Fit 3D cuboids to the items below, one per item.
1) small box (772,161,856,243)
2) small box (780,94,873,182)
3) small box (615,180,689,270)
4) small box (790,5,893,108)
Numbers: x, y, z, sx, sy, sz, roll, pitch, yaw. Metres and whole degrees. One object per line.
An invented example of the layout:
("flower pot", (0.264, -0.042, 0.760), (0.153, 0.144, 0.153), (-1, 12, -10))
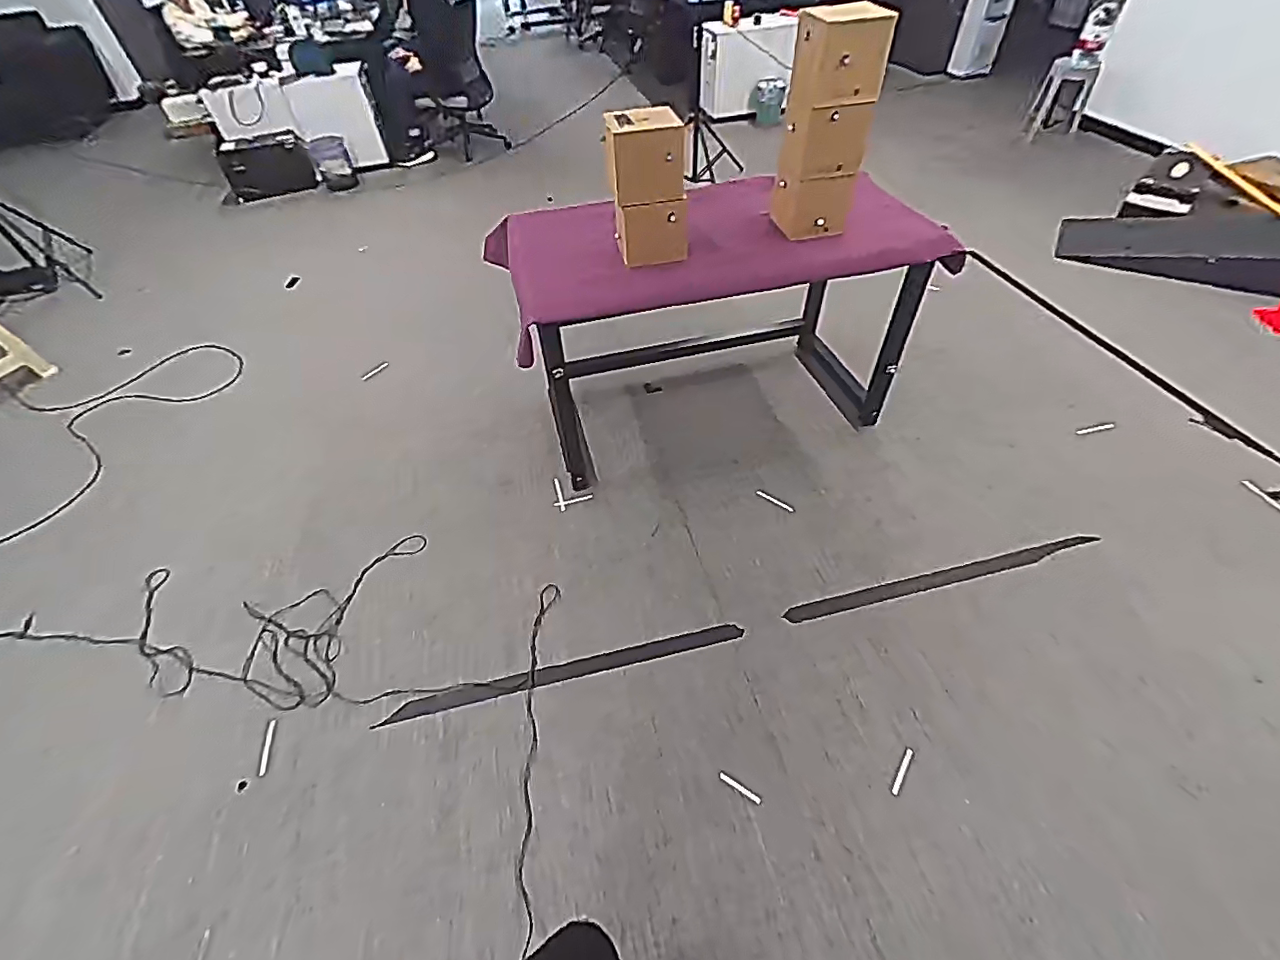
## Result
("small box", (0.493, -0.812, 1.564), (0.168, 0.176, 0.179), (-11, 49, -5))
("small box", (0.485, -0.916, 1.438), (0.168, 0.176, 0.179), (-9, 48, -3))
("small box", (0.031, -0.707, 1.504), (0.179, 0.176, 0.168), (-10, 48, -5))
("small box", (0.478, -1.019, 1.311), (0.168, 0.176, 0.179), (-10, 48, -3))
